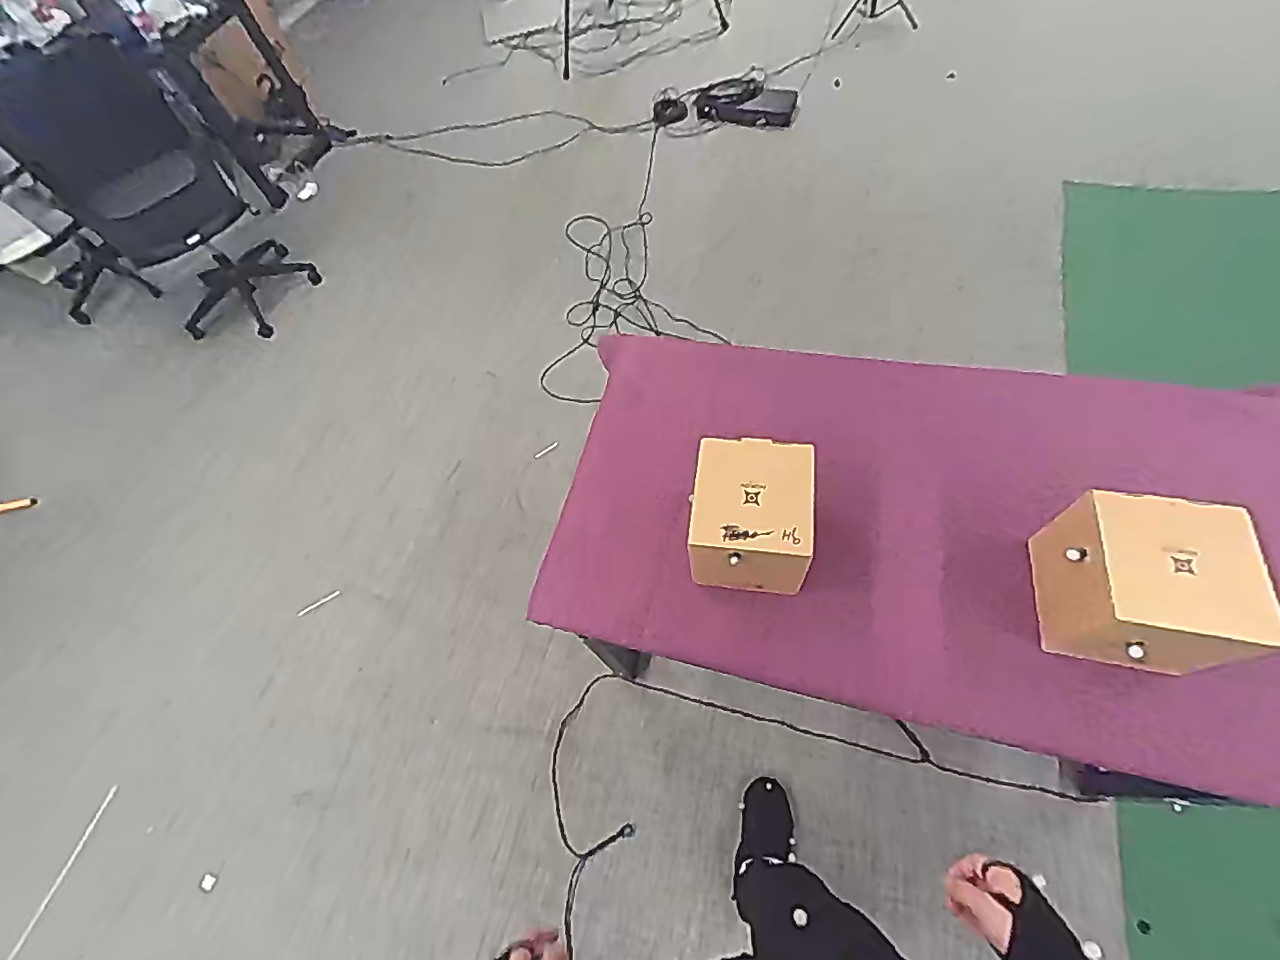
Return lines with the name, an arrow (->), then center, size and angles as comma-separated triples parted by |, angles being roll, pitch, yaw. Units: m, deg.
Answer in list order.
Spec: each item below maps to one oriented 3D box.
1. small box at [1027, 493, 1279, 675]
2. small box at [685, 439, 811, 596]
small box -> 0.640, 0.141, 0.705 | 0.168, 0.176, 0.179 | 8, 61, 14
small box -> 0.164, 0.059, 0.824 | 0.168, 0.176, 0.179 | 4, 61, 12
